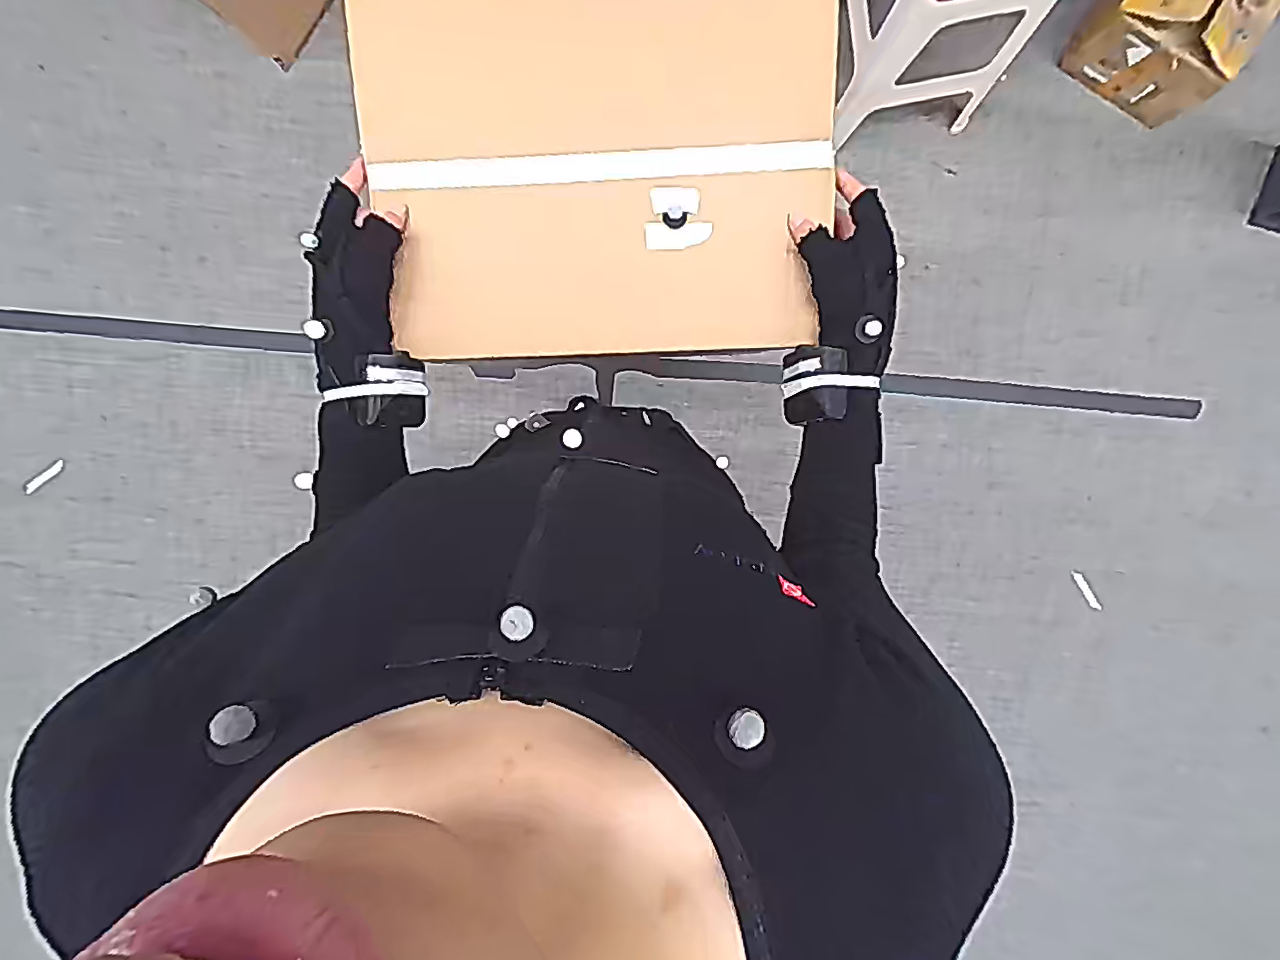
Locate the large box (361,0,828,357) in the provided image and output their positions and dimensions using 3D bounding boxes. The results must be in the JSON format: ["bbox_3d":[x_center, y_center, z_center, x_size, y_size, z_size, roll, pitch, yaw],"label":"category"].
[{"bbox_3d":[-0.034,-0.312,0.628,0.408,0.320,0.320,-1,102,1],"label":"large box"}]
